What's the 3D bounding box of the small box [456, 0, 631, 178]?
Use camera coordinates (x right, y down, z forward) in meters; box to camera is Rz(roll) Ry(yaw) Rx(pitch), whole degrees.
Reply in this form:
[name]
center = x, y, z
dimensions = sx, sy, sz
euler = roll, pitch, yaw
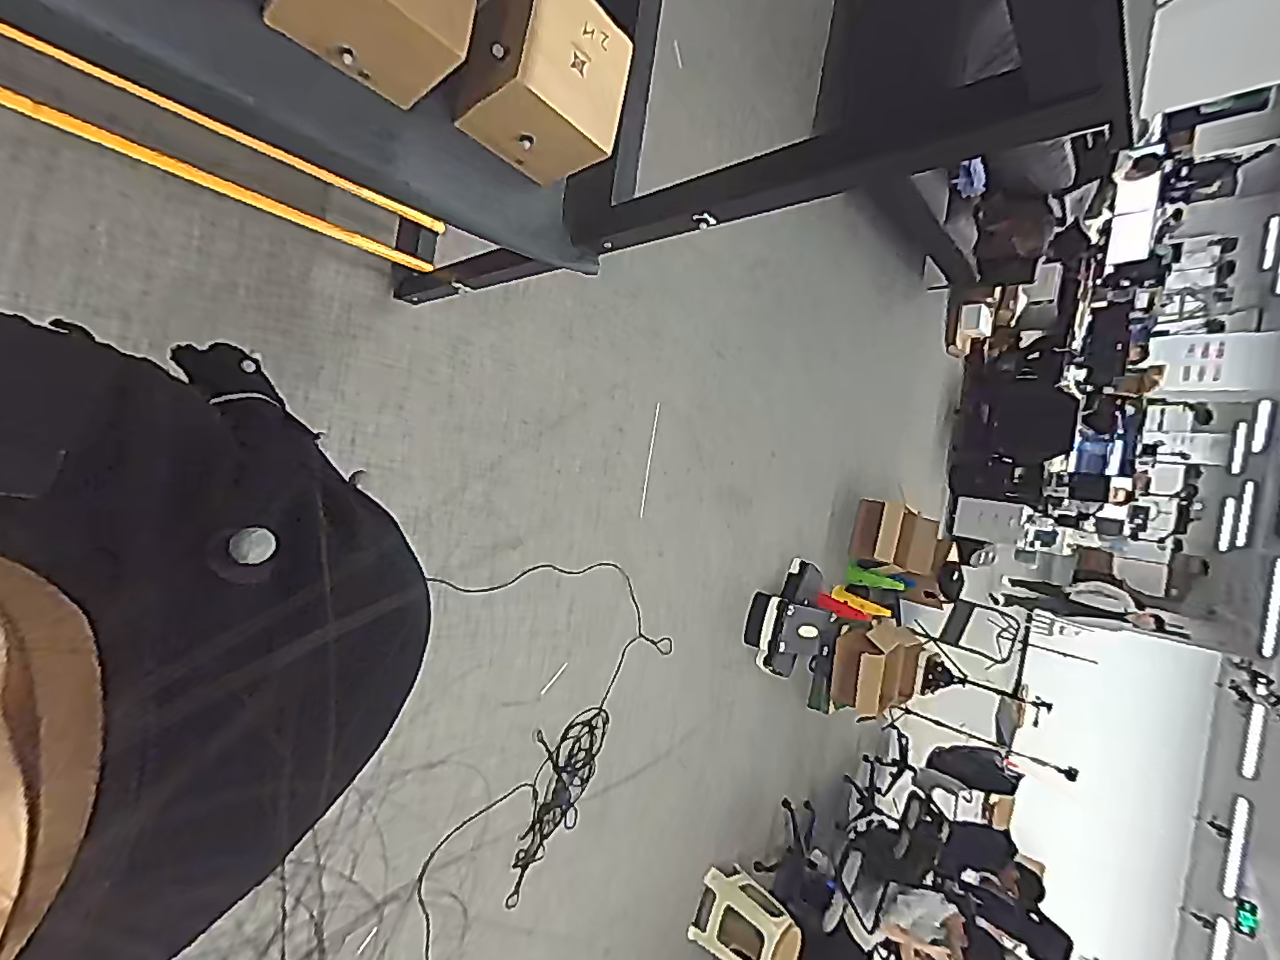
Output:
[small box]
center = -0.142, -0.574, 0.778
dimensions = 0.168, 0.176, 0.179
euler = 14, 86, -47
